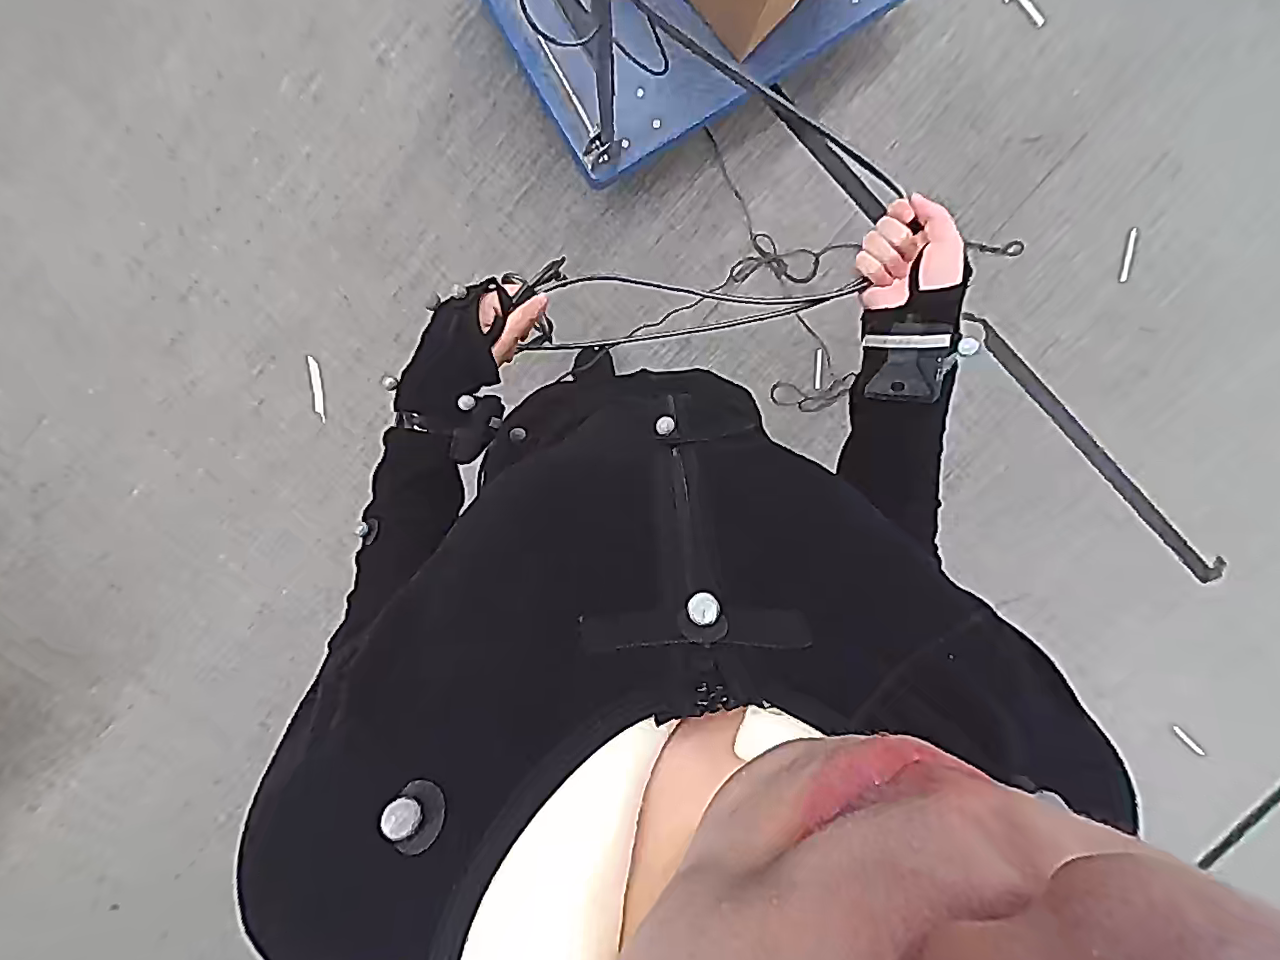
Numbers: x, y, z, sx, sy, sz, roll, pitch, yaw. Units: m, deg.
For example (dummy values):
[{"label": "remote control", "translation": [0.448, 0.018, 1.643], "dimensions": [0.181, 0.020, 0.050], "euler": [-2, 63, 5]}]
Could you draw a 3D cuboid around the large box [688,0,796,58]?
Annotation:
[{"label": "large box", "translation": [0.188, -1.110, 0.967], "dimensions": [0.408, 0.320, 0.320], "euler": [43, 96, -11]}]
